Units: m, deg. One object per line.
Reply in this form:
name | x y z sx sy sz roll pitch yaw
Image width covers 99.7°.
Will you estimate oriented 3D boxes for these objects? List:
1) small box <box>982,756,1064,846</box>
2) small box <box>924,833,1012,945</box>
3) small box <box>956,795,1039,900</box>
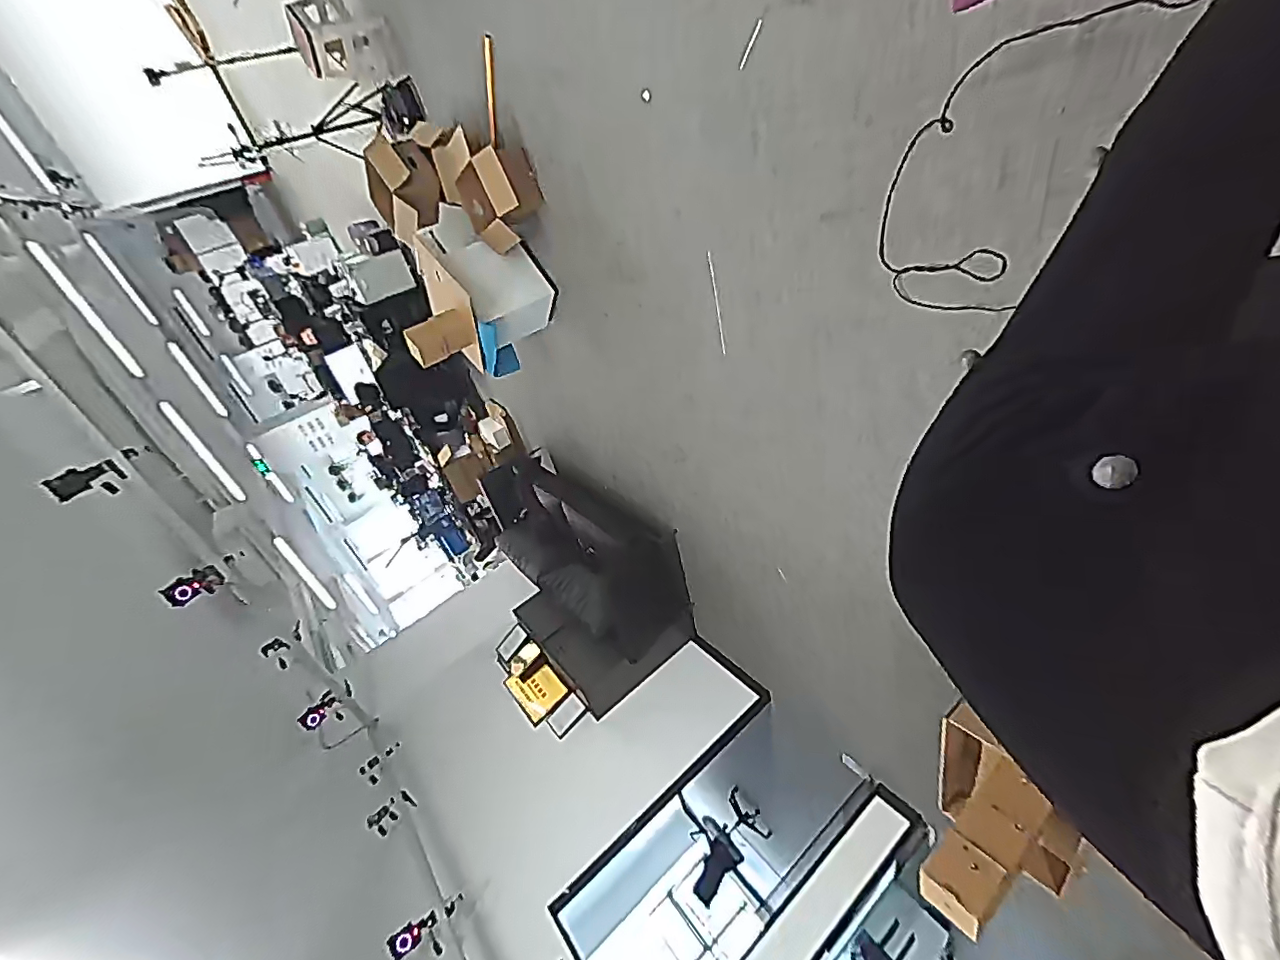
small box | 1.209 1.025 1.714 0.168 0.176 0.179 26 143 47
small box | 0.961 1.193 1.584 0.168 0.176 0.179 25 142 50
small box | 1.086 1.111 1.649 0.168 0.176 0.179 25 144 49
